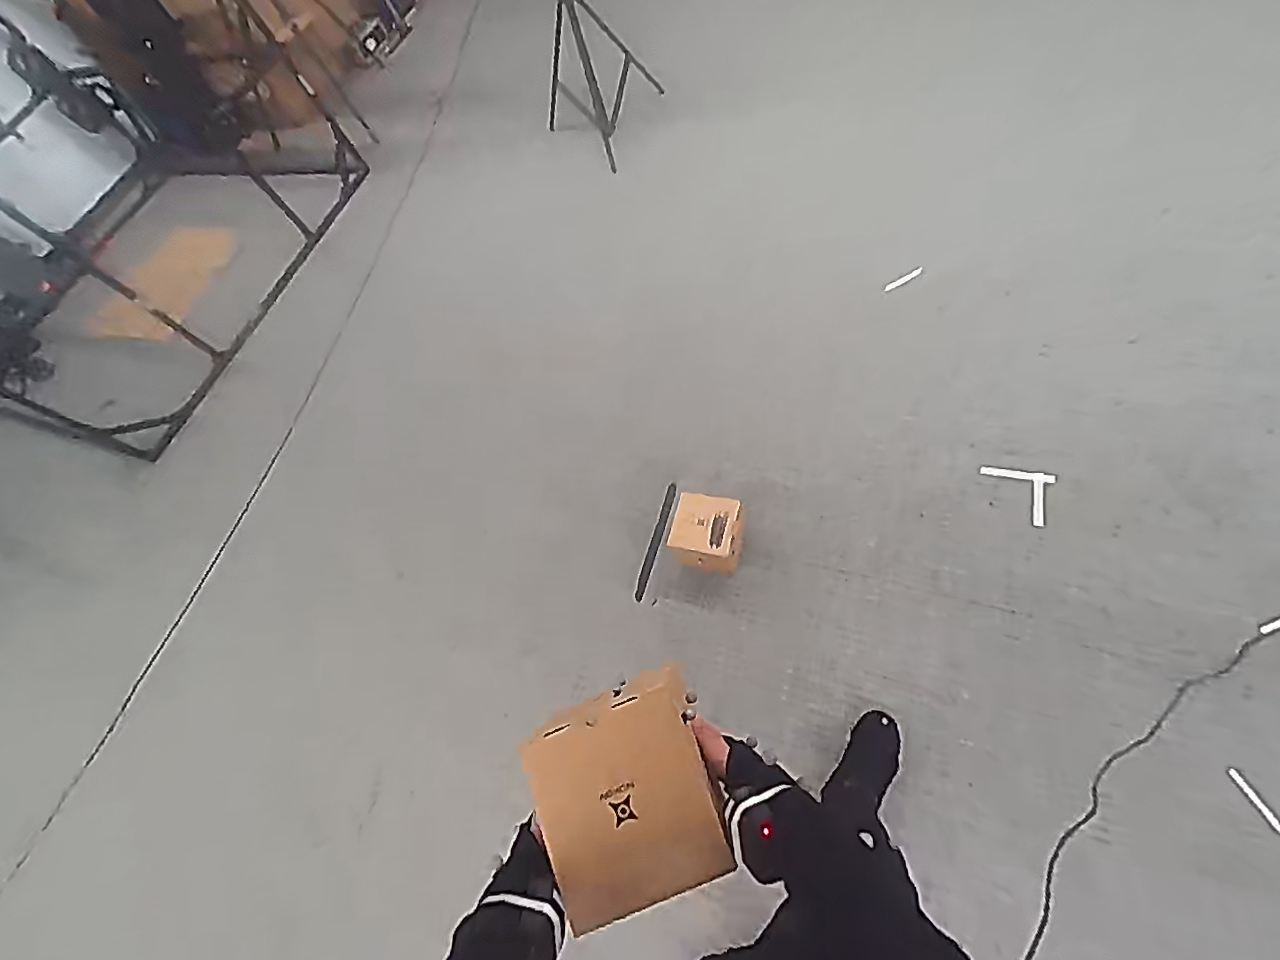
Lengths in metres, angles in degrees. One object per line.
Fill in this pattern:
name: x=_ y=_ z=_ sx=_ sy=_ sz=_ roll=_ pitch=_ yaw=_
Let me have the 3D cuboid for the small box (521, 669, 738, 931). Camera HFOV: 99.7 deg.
small box: x=-0.005 y=0.326 z=0.592 sx=0.168 sy=0.176 sz=0.179 roll=-23 pitch=74 yaw=0
